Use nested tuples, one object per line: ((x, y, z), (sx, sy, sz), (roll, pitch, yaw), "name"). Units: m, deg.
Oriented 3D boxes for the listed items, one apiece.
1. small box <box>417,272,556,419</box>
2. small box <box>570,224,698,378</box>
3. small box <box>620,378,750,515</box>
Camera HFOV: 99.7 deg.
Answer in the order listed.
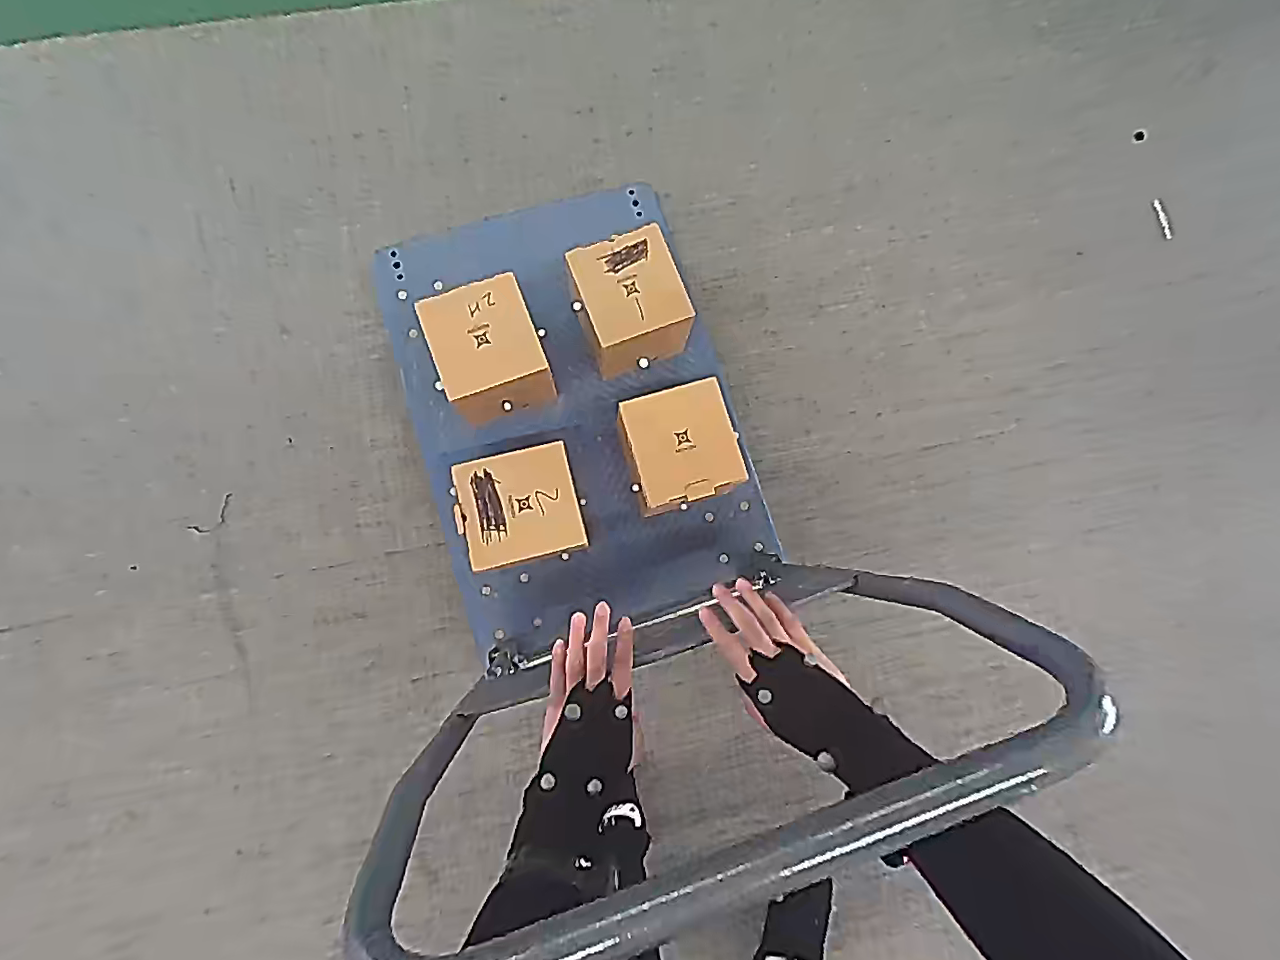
((-0.251, -0.216, 0.926), (0.168, 0.176, 0.179), (-20, 84, -7), "small box")
((-0.016, -0.305, 0.953), (0.168, 0.176, 0.179), (-20, 85, -5), "small box")
((0.066, -0.049, 0.923), (0.168, 0.176, 0.179), (-16, 84, -6), "small box")
